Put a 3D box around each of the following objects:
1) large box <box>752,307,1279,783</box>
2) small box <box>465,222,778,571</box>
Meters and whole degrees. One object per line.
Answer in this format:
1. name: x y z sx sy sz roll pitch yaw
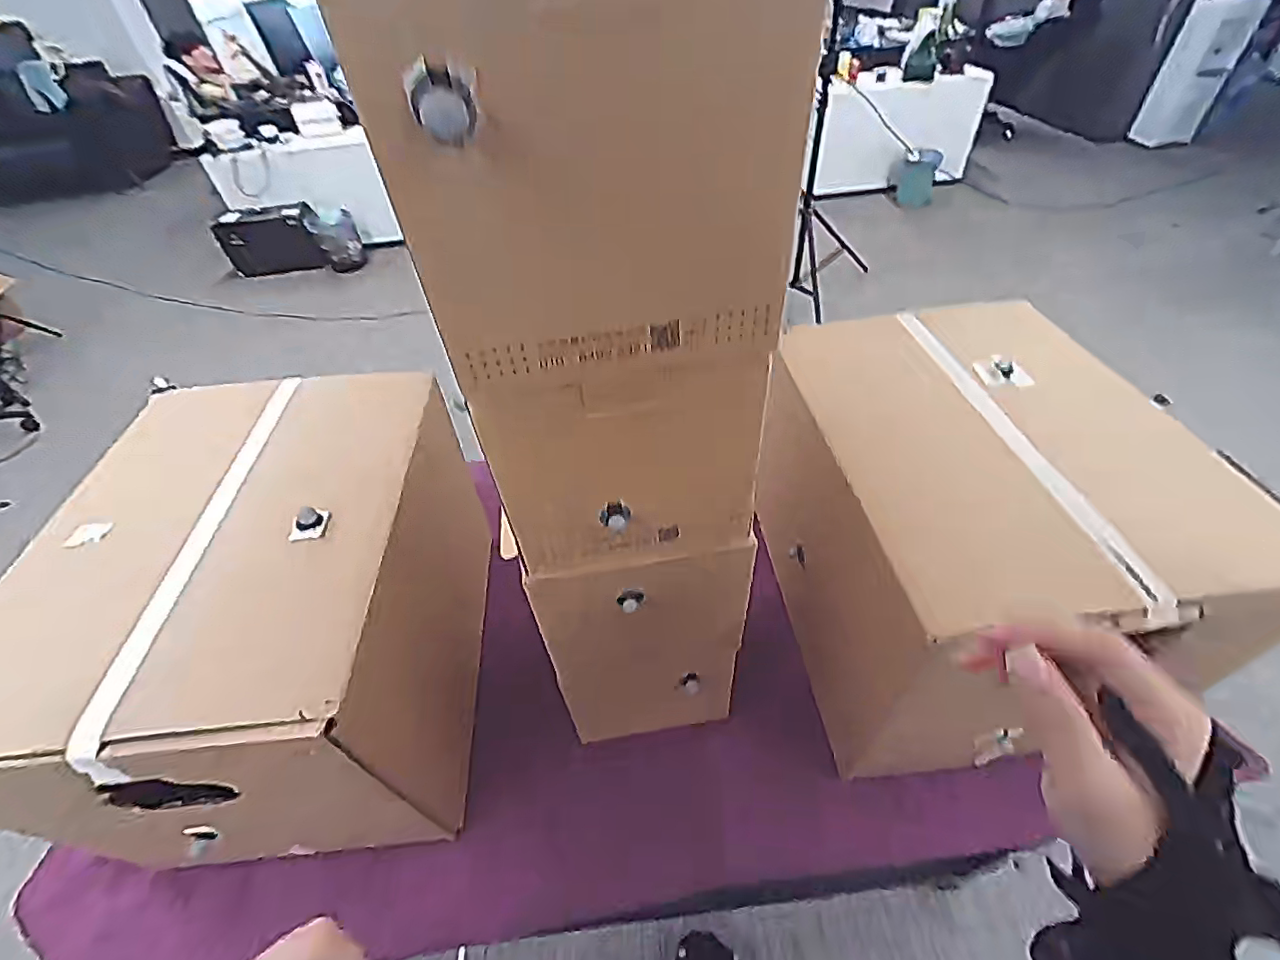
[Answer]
1. large box: 0.333 0.056 0.605 0.320 0.320 0.408 -7 44 -2
2. small box: -0.018 -0.062 0.390 0.168 0.176 0.179 -10 46 -5
